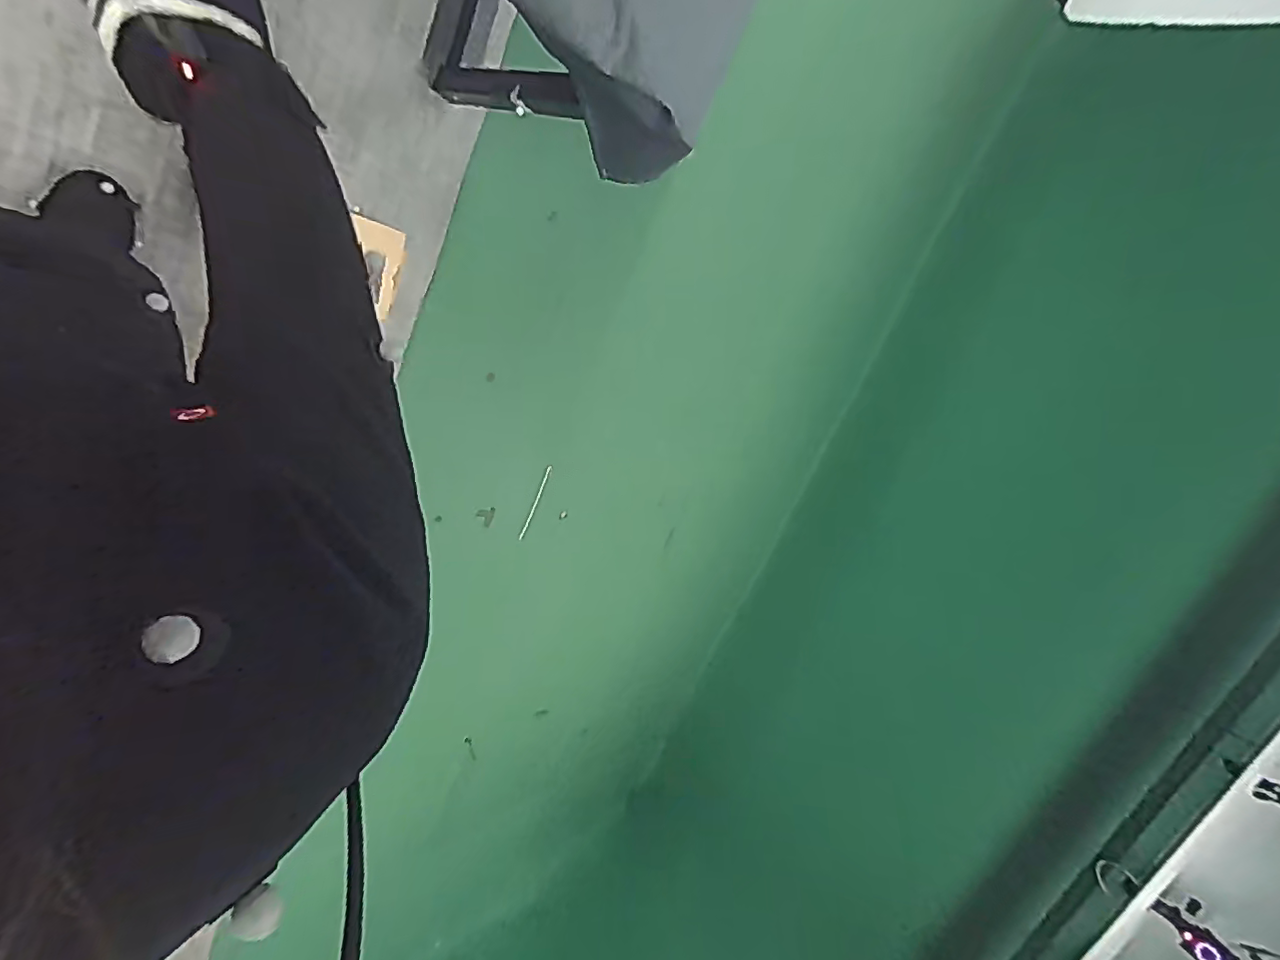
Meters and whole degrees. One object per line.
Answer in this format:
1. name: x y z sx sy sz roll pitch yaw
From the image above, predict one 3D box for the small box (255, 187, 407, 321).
1. small box: -0.559 -0.408 0.978 0.179 0.176 0.168 0 116 -51
